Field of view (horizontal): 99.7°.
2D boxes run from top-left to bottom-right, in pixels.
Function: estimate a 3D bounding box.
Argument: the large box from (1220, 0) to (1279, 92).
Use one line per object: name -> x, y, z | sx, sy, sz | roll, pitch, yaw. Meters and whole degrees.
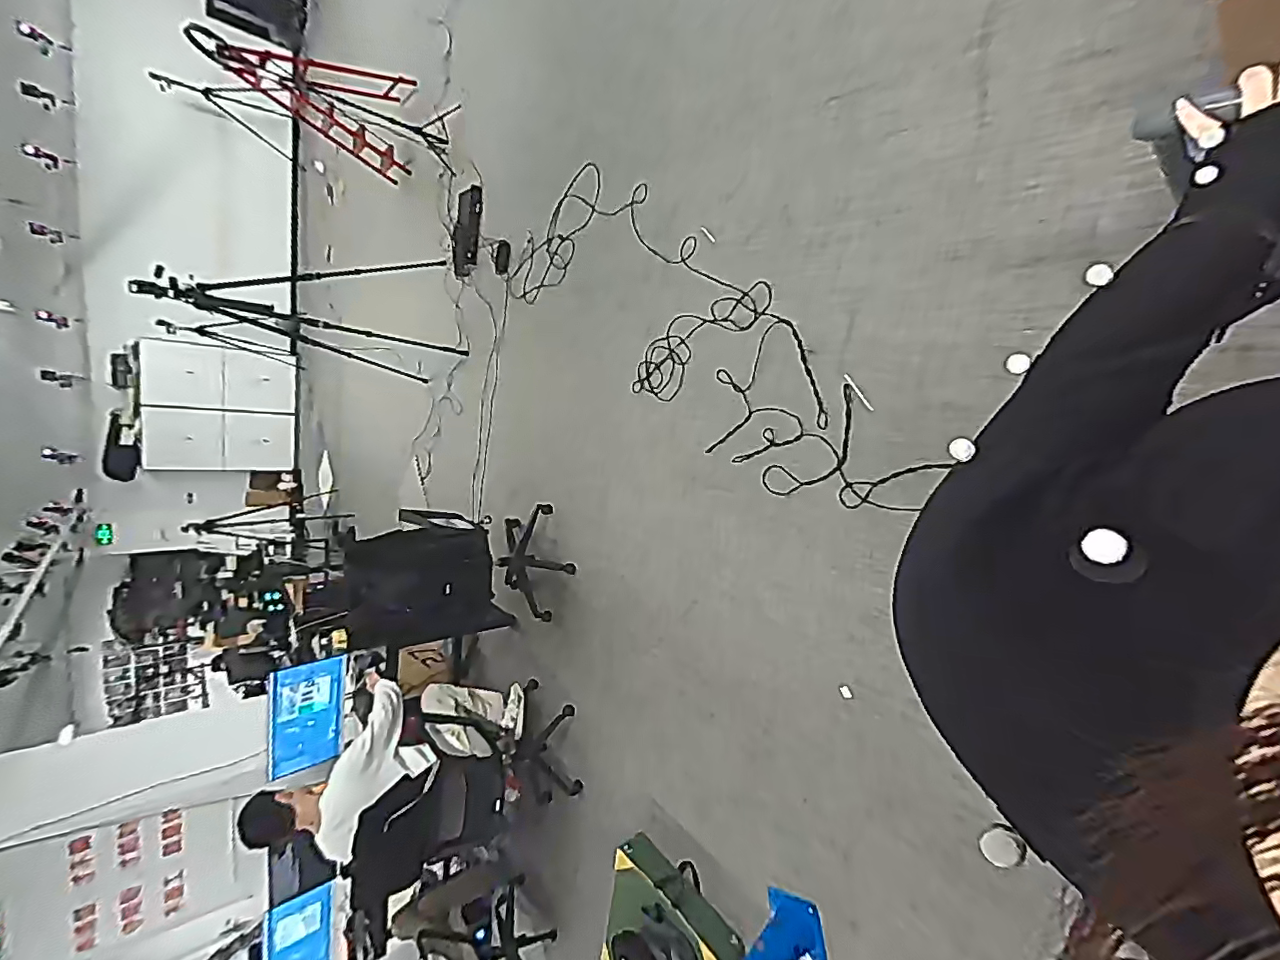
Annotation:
large box -> 1.049, -0.760, 0.666 | 0.408, 0.320, 0.320 | 23, 108, 45
